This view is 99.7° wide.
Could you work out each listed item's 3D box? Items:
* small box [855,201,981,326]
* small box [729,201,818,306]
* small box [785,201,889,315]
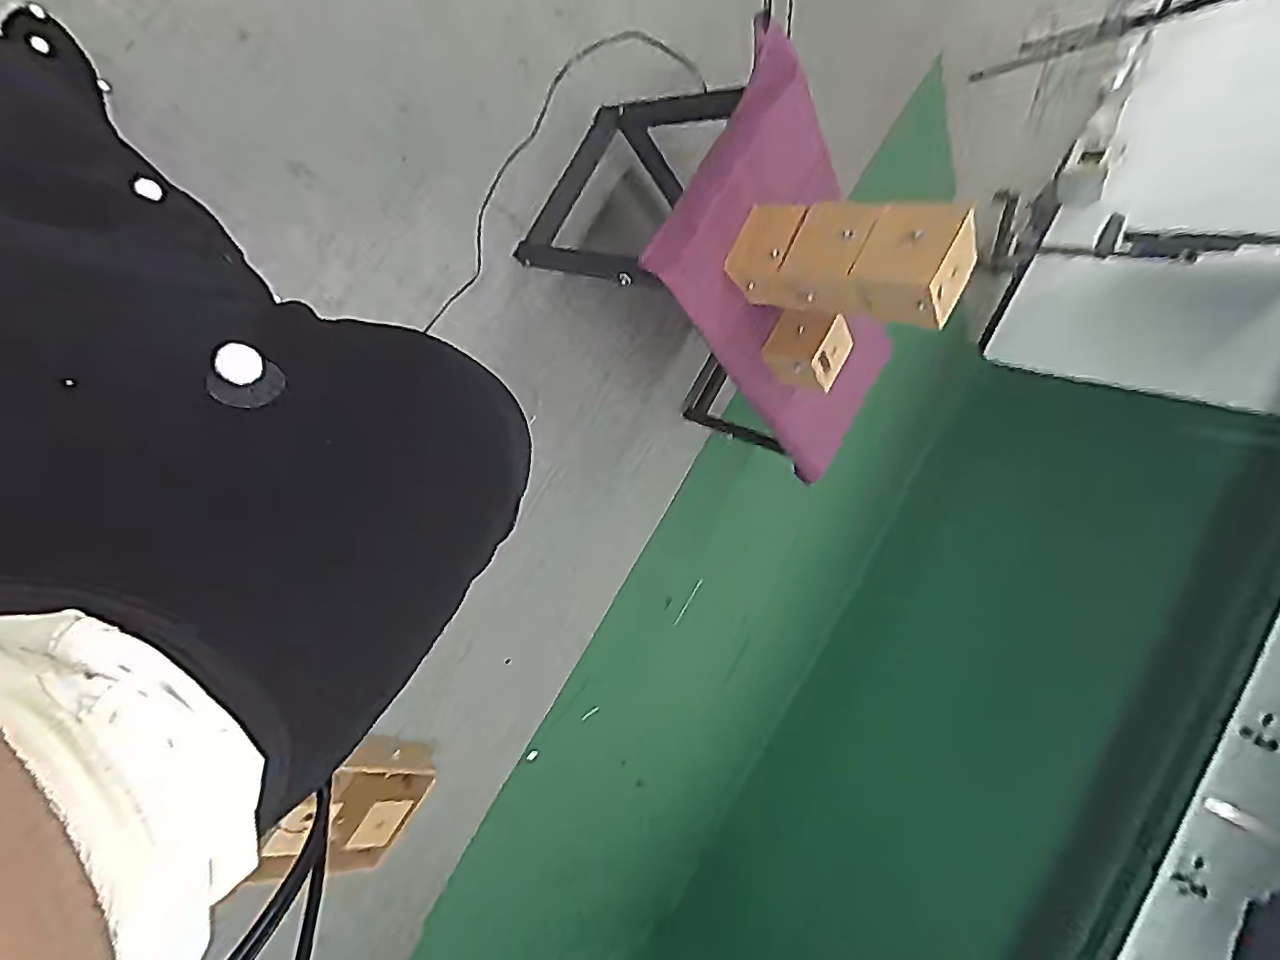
[{"bbox_3d":[0.570,-0.447,1.112,0.168,0.176,0.179,29,88,-50],"label":"small box"},{"bbox_3d":[0.348,-0.558,1.327,0.168,0.176,0.179,27,91,-50],"label":"small box"},{"bbox_3d":[0.456,-0.502,1.217,0.168,0.176,0.179,25,91,-50],"label":"small box"}]
